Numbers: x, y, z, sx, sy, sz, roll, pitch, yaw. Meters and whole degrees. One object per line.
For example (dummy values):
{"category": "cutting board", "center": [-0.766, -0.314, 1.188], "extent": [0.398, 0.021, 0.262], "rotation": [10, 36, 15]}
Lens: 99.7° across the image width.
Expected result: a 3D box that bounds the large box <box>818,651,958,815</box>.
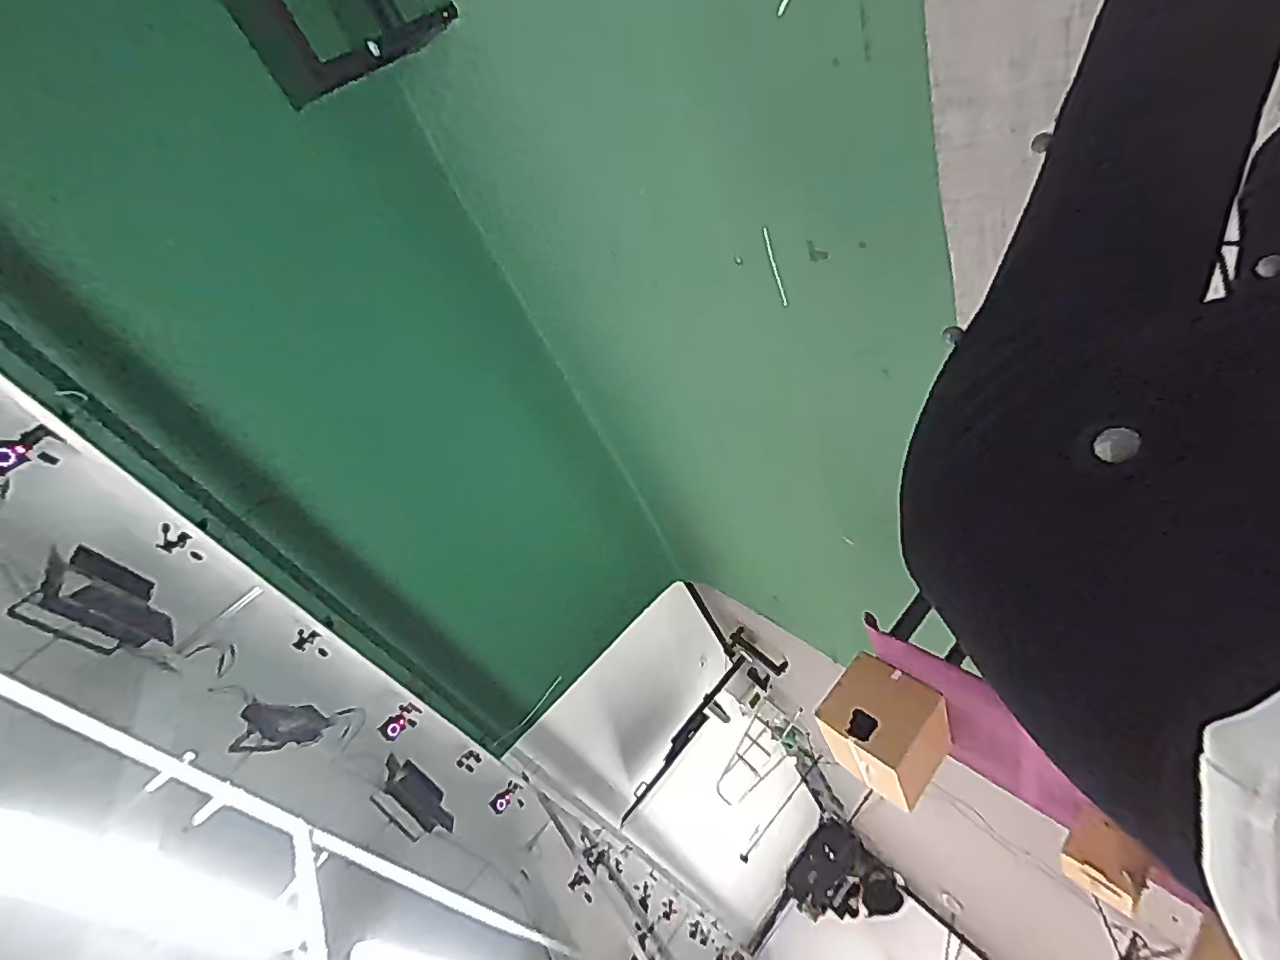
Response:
{"category": "large box", "center": [0.907, 0.906, 1.959], "extent": [0.320, 0.320, 0.408], "rotation": [21, 148, 49]}
